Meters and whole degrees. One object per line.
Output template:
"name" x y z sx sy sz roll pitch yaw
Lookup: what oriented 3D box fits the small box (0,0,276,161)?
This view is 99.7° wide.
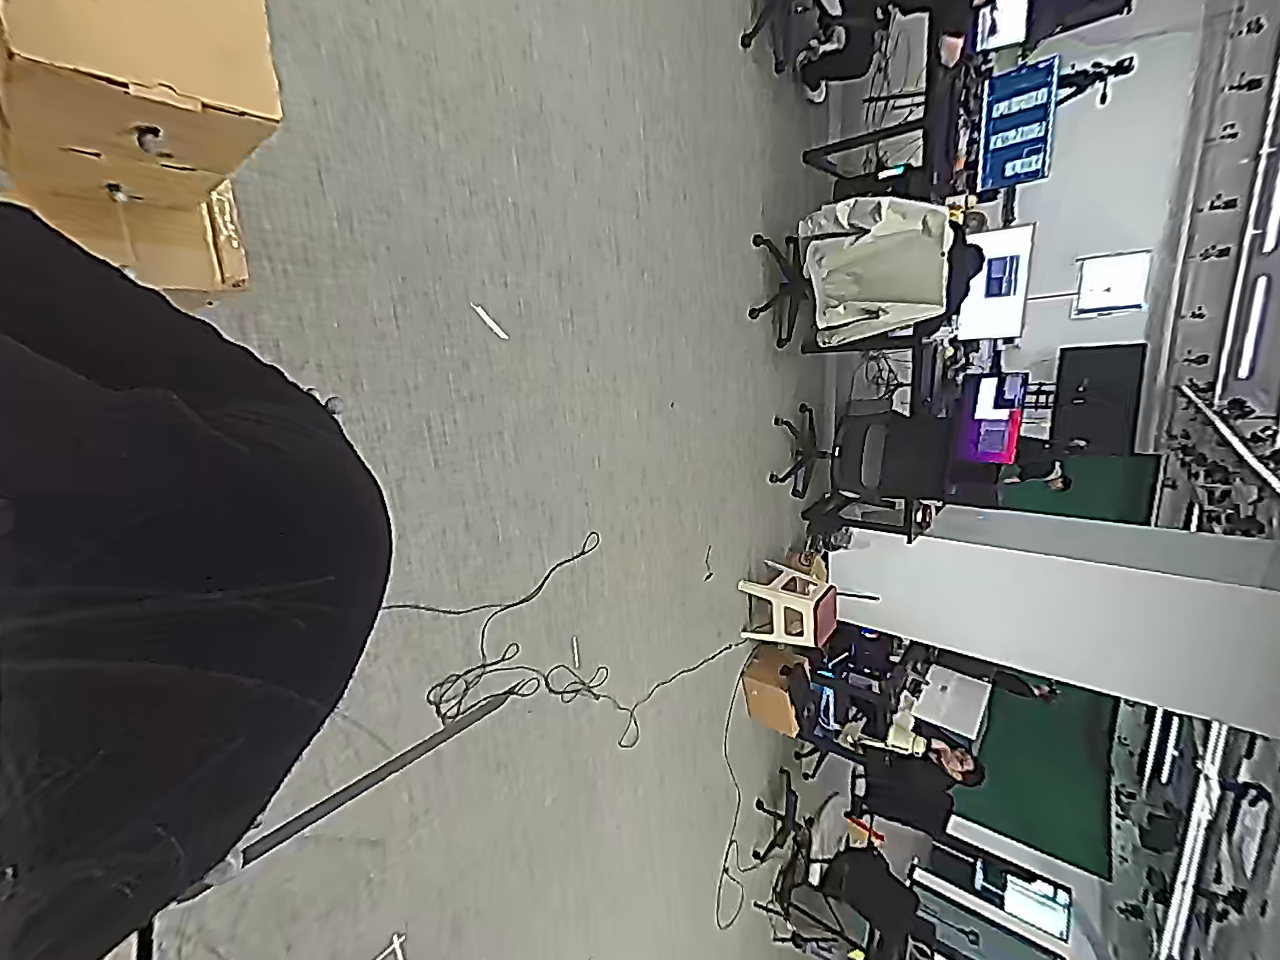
"small box" -0.440 -0.399 0.459 0.168 0.176 0.179 -16 109 -47

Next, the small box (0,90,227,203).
"small box" -0.568 -0.412 0.562 0.168 0.176 0.179 -18 110 -47
